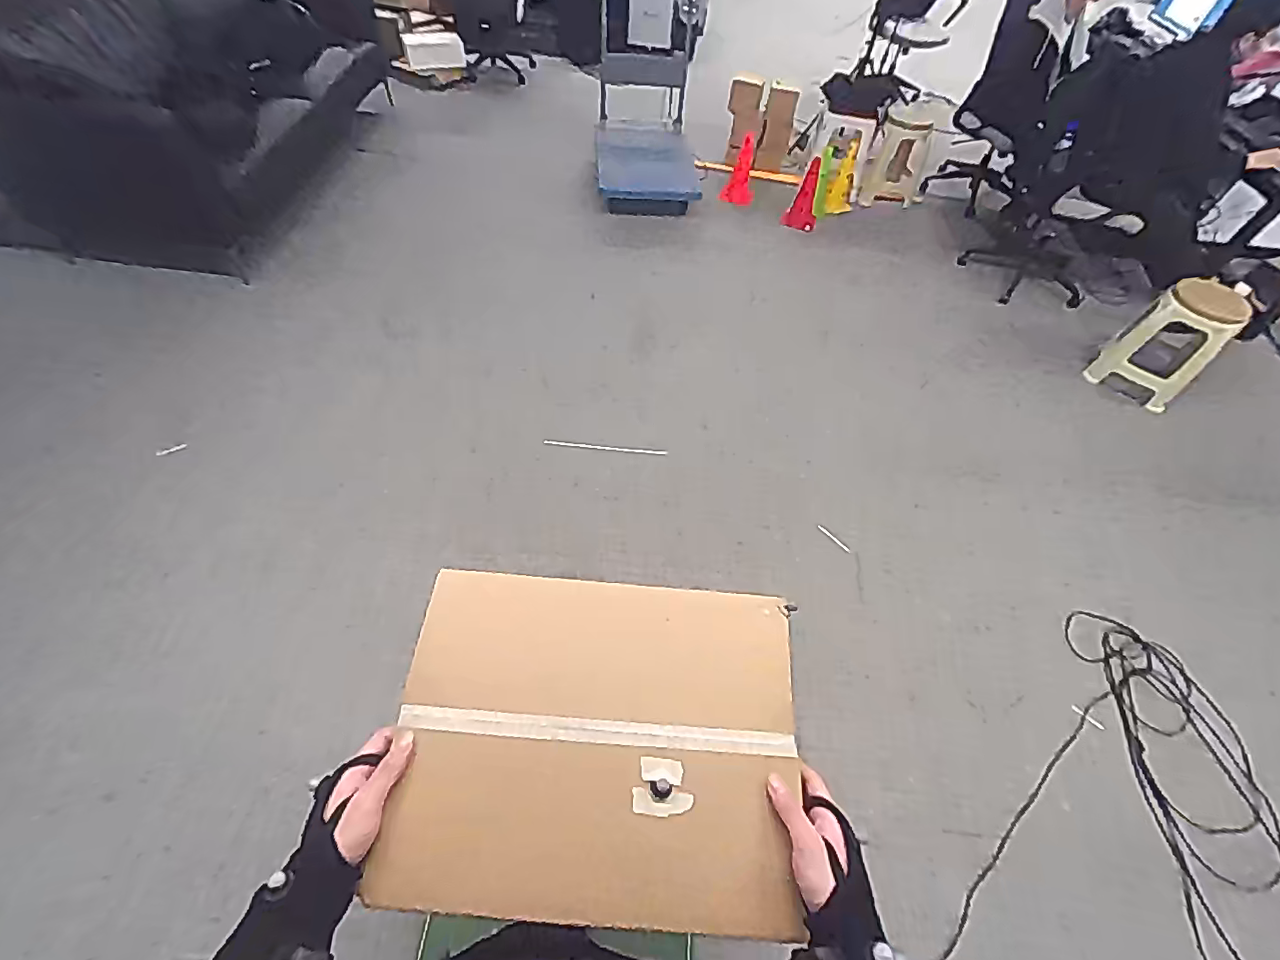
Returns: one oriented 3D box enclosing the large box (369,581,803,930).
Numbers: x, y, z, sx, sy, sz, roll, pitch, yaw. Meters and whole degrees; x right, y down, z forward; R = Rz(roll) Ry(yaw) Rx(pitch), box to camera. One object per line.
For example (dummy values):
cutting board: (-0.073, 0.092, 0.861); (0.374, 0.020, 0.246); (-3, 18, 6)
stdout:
large box: (-0.050, 0.339, 0.690); (0.408, 0.320, 0.320); (5, 60, -1)
